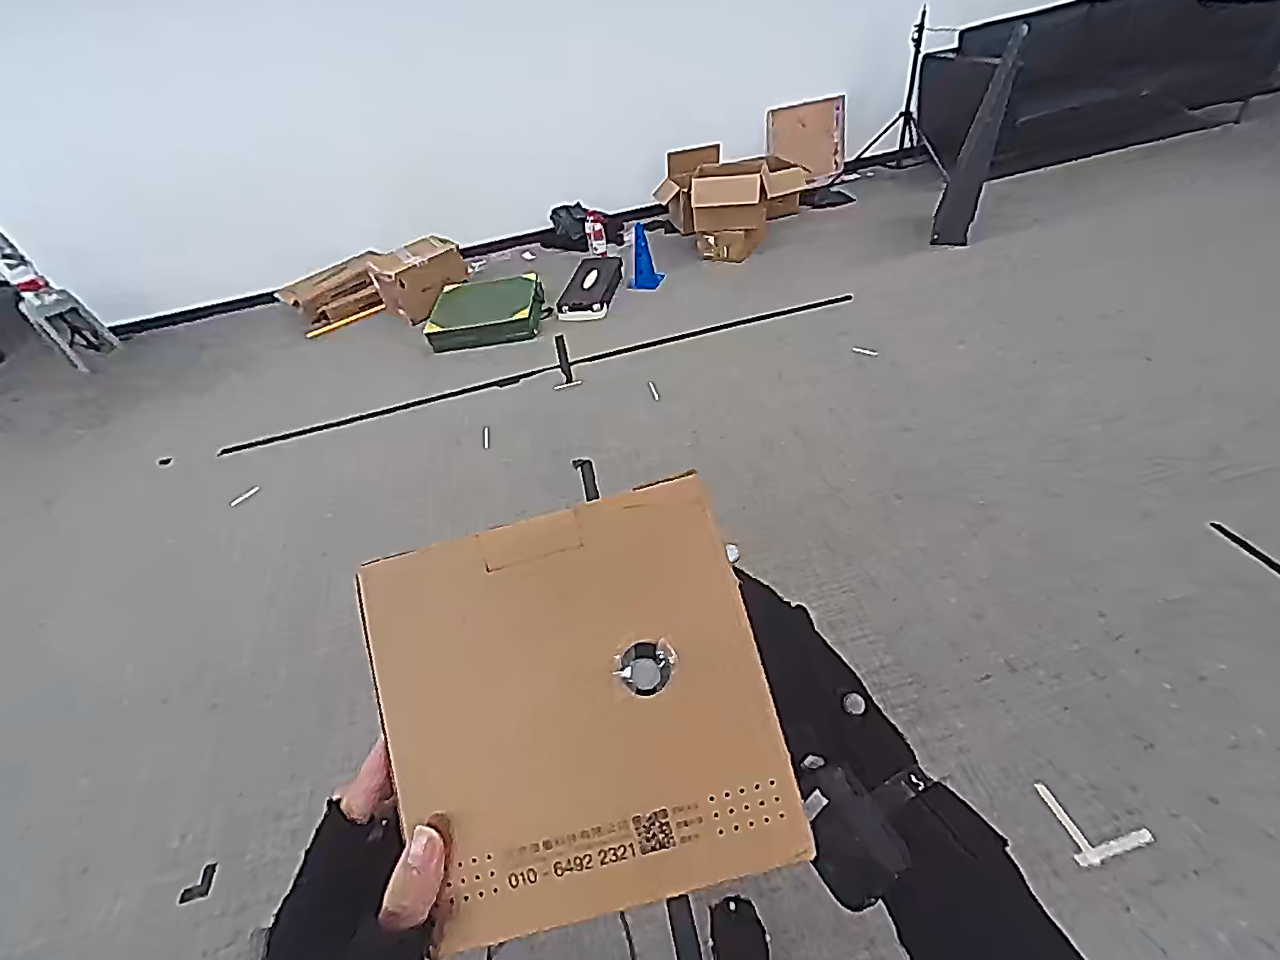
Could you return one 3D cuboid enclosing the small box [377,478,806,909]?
[{"bbox_3d":[-0.018,0.111,0.319,0.168,0.179,0.176,-15,81,2],"label":"small box"}]
